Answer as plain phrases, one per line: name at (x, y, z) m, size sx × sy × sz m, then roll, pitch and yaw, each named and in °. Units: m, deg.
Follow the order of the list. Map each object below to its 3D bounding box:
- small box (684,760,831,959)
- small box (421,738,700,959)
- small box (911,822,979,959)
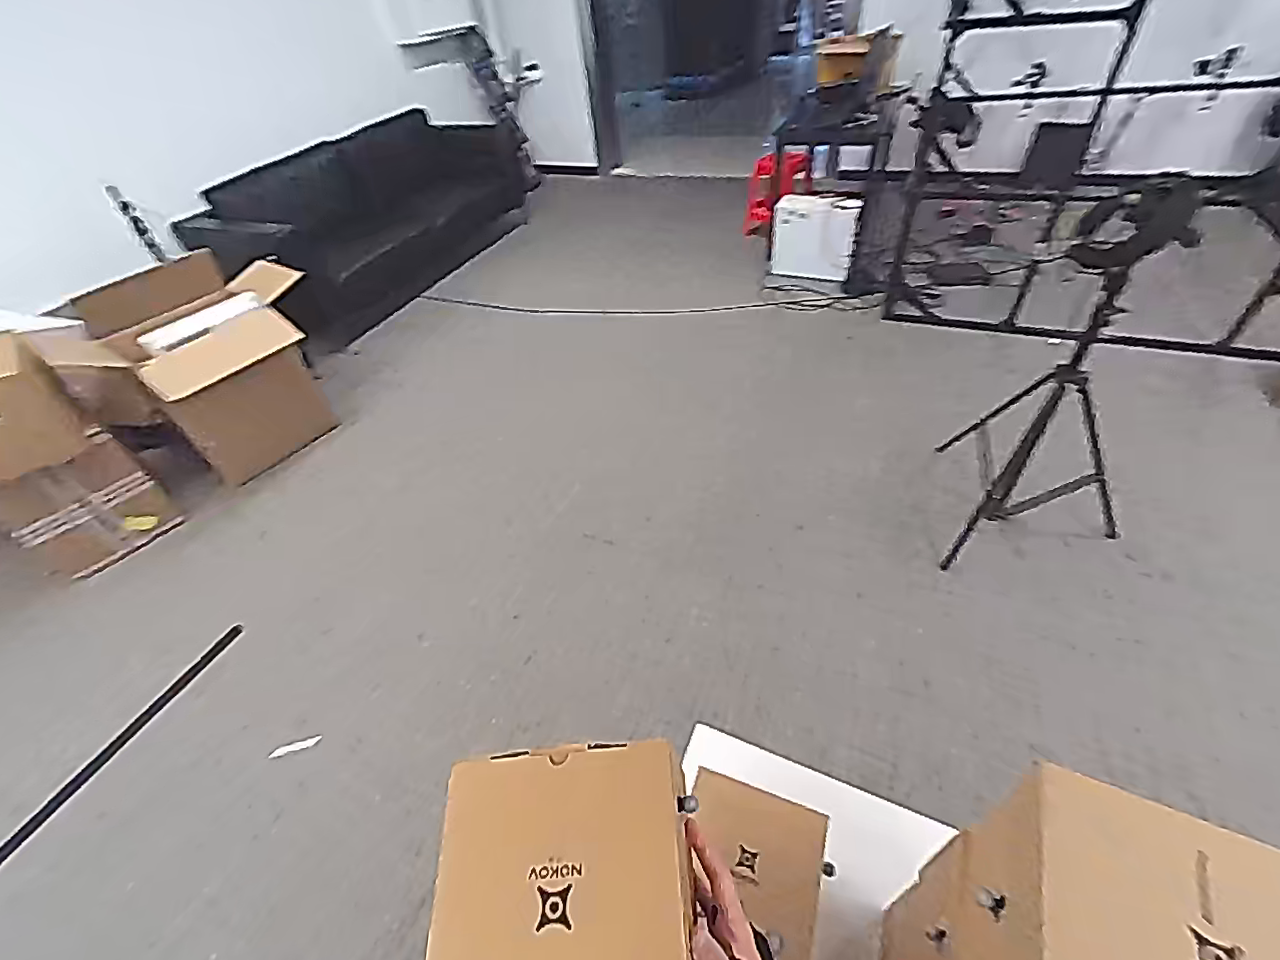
small box at (0.128, 0.492, 0.672) m, size 0.168 × 0.176 × 0.179 m, roll 13°, pitch 47°, yaw 19°
small box at (-0.047, 0.312, 0.410) m, size 0.168 × 0.176 × 0.179 m, roll -8°, pitch 53°, yaw 3°
small box at (0.337, 0.442, 0.461) m, size 0.168 × 0.176 × 0.179 m, roll 14°, pitch 48°, yaw 23°
